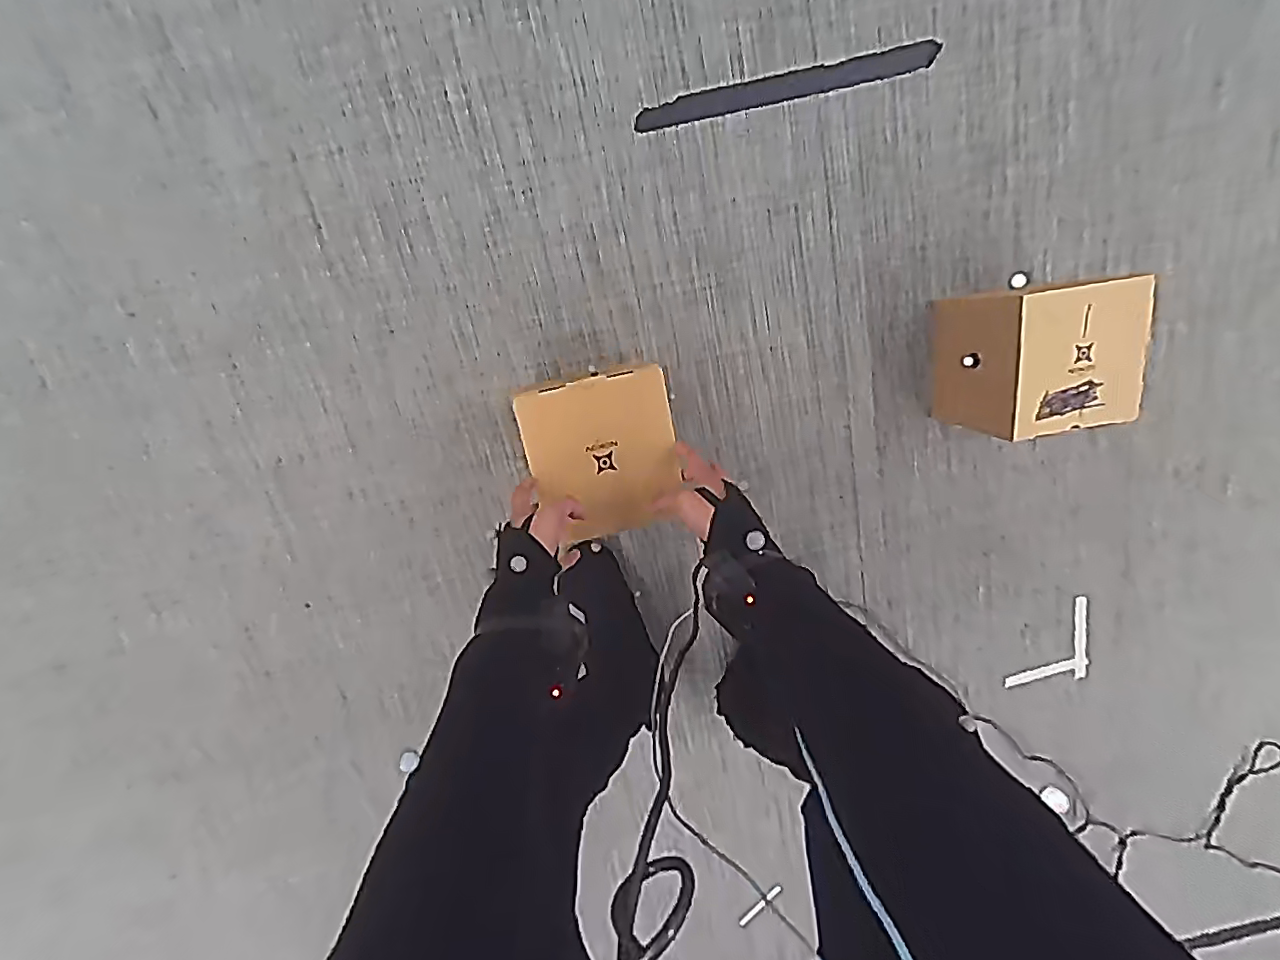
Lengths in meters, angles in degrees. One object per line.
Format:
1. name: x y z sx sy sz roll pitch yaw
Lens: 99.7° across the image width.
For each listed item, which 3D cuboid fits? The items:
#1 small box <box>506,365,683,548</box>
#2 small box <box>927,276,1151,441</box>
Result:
1. small box: -0.054 -0.040 0.662 0.168 0.176 0.179 -13 103 -5
2. small box: 0.506 -0.164 0.714 0.168 0.176 0.179 -10 107 -4
